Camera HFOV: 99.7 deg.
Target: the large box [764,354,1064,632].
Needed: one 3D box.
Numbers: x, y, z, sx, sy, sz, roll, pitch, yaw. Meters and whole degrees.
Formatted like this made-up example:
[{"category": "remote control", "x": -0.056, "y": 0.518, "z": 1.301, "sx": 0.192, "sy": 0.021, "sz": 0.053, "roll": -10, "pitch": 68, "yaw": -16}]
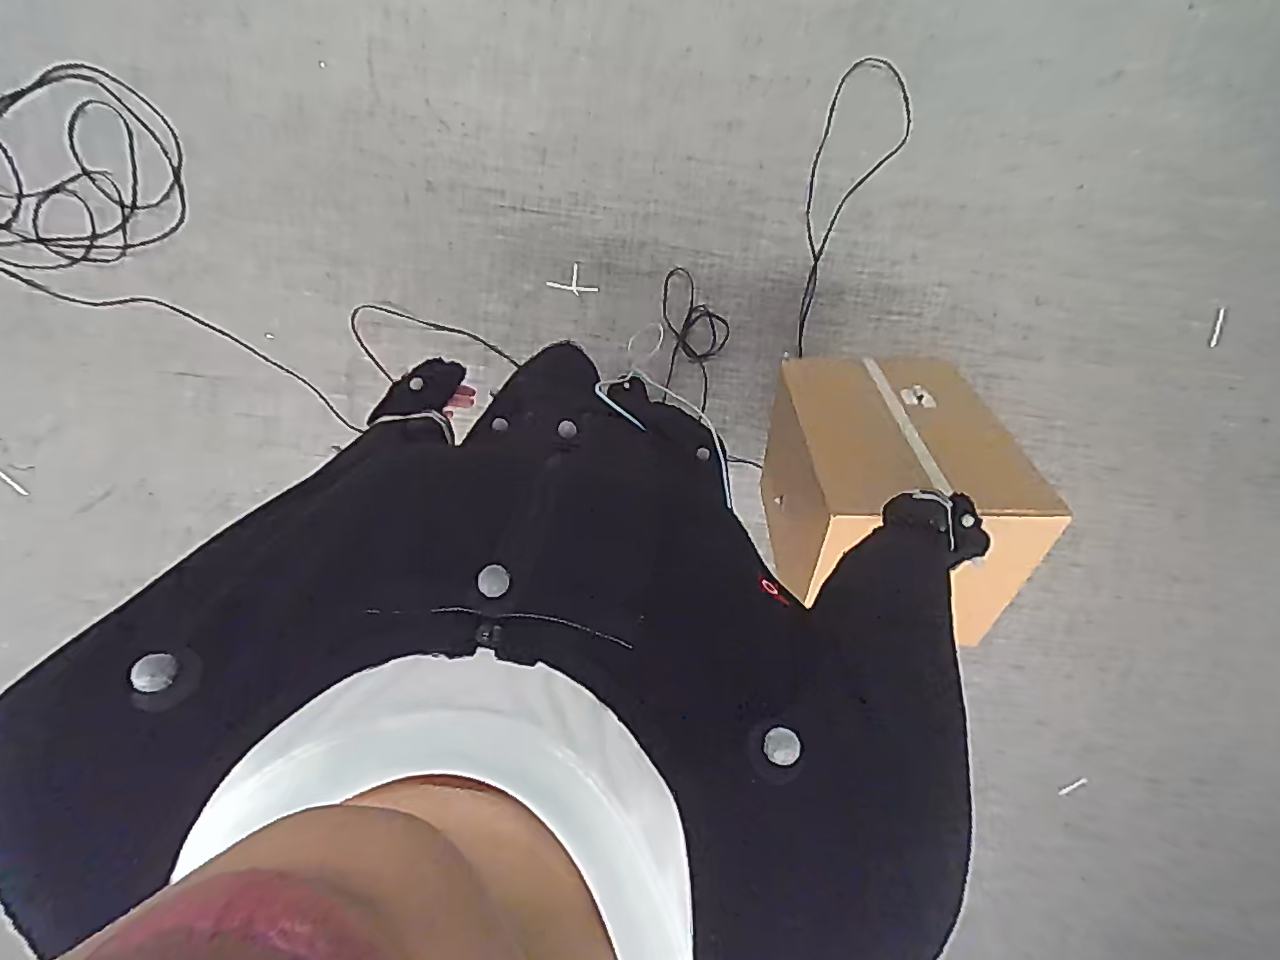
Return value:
[{"category": "large box", "x": 0.416, "y": 0.015, "z": 0.958, "sx": 0.320, "sy": 0.408, "sz": 0.320, "roll": 1, "pitch": 132, "yaw": 1}]
